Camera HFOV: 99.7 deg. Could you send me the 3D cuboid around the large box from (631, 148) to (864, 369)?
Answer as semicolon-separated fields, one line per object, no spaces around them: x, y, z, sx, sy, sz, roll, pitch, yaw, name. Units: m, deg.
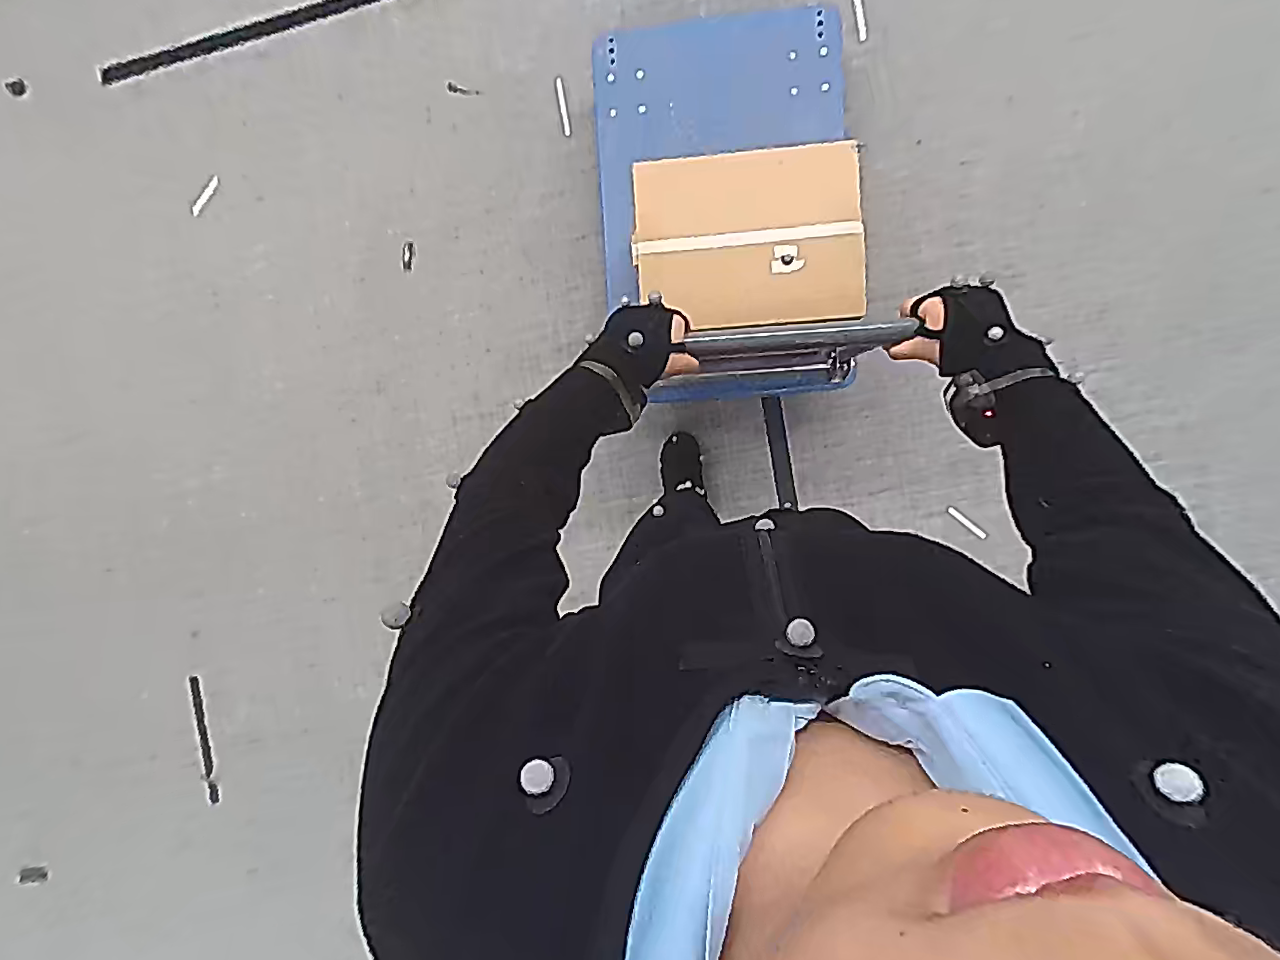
0.202;-0.427;1.125;0.408;0.320;0.320;-4;92;4;large box
